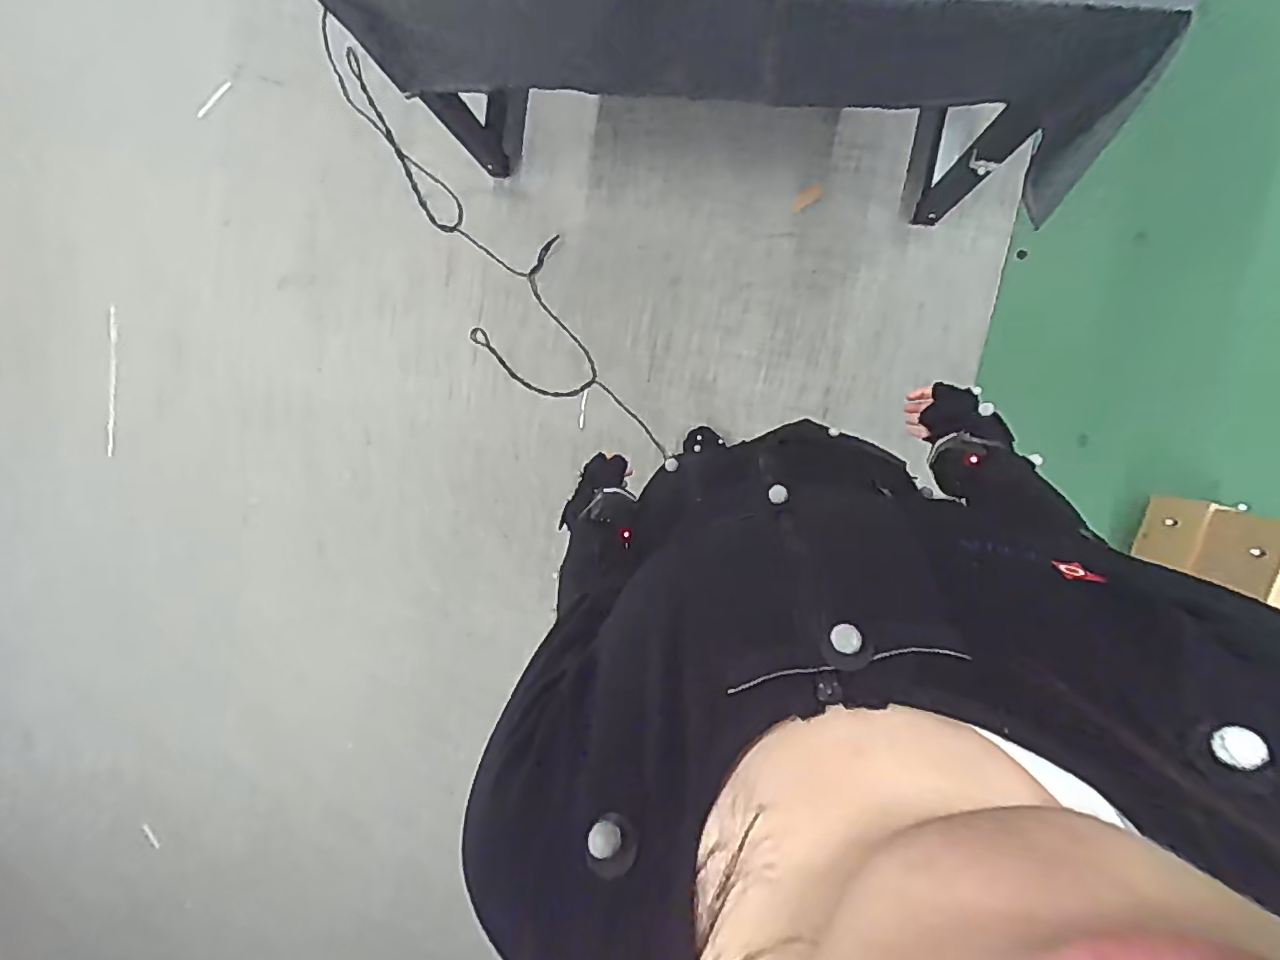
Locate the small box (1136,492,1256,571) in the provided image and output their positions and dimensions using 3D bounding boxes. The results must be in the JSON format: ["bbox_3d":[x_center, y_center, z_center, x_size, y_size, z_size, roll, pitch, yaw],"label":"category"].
[{"bbox_3d":[1.320,0.130,1.251,0.179,0.176,0.168,15,97,6],"label":"small box"}]

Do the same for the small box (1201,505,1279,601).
[{"bbox_3d":[1.306,0.157,1.088,0.168,0.176,0.179,14,97,6],"label":"small box"}]
